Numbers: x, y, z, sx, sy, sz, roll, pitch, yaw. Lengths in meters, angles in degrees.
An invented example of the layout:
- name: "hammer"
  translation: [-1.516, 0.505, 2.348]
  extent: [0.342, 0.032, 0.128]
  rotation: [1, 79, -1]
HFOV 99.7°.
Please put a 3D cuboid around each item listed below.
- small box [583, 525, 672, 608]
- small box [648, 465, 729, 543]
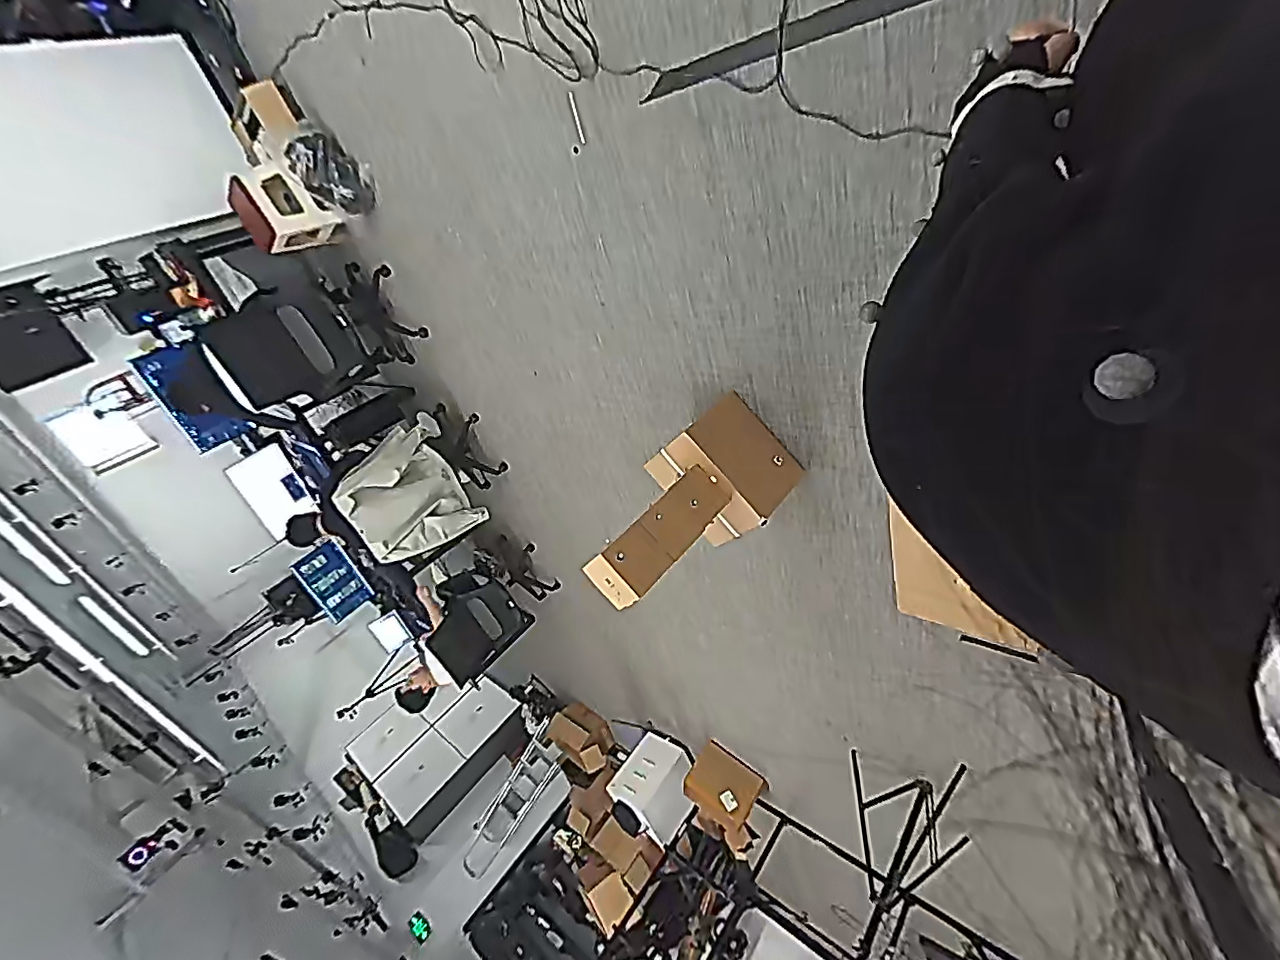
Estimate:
- name: "small box"
  translation: [-0.038, 0.257, 1.641]
  extent: [0.179, 0.176, 0.168]
  rotation: [48, 146, 2]
- name: "small box"
  translation: [0.167, 0.080, 1.829]
  extent: [0.179, 0.176, 0.168]
  rotation: [48, 145, 3]
